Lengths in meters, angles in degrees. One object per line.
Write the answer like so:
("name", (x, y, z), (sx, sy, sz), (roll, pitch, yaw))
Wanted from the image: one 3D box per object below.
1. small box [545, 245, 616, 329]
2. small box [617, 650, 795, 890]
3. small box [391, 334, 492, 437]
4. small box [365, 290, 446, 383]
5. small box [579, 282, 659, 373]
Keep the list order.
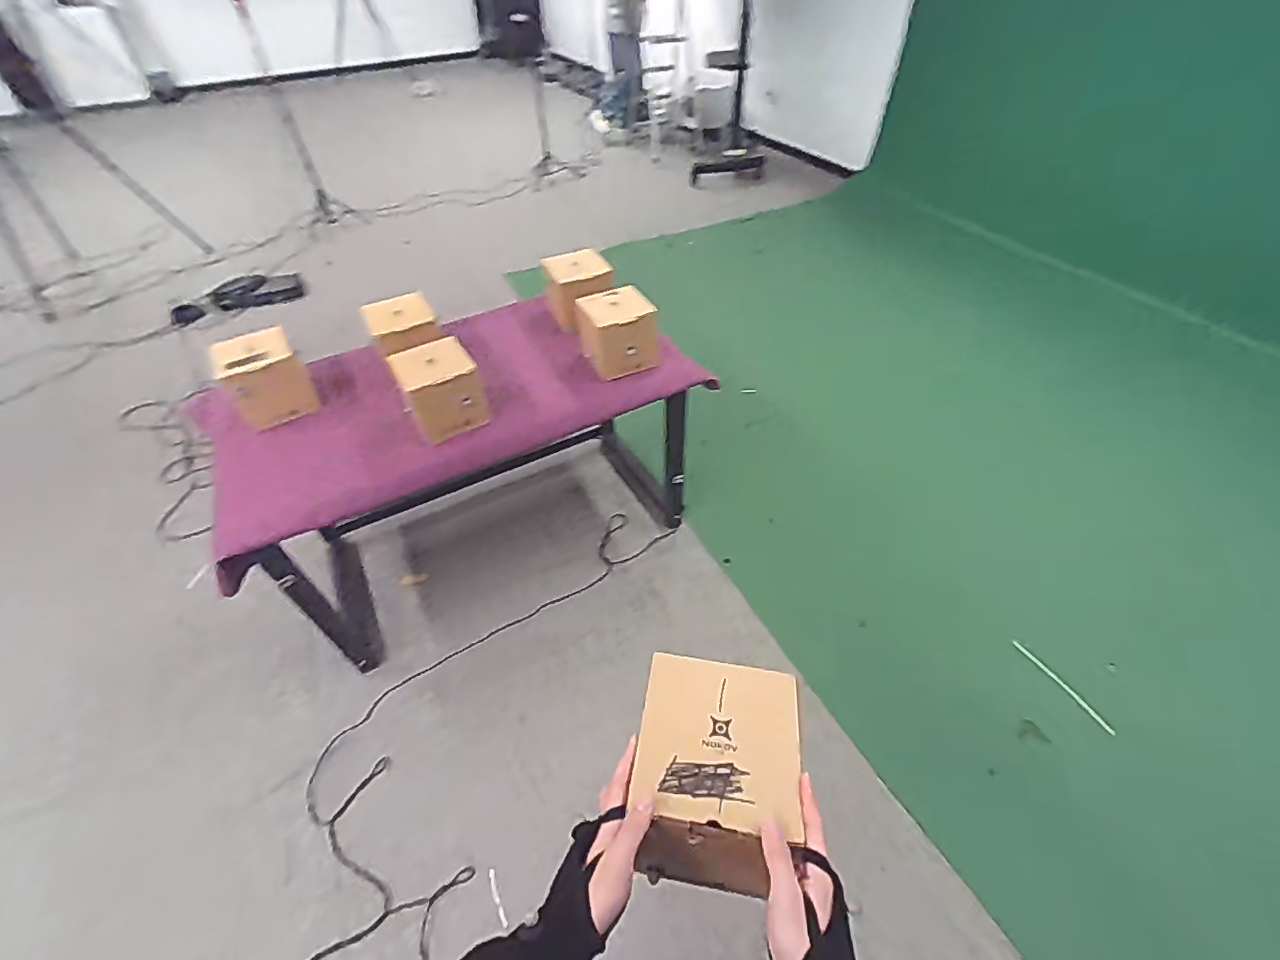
("small box", (-0.177, -0.589, 1.654), (0.168, 0.176, 0.179), (-20, 50, -14))
("small box", (0.072, 0.322, 0.602), (0.168, 0.176, 0.179), (6, 38, 7))
("small box", (-0.484, -0.227, 1.336), (0.168, 0.176, 0.179), (-25, 50, -20))
("small box", (-0.636, -0.395, 1.500), (0.168, 0.176, 0.179), (-24, 52, -19))
("small box", (-0.053, -0.411, 1.482), (0.168, 0.176, 0.179), (-20, 48, -14))
